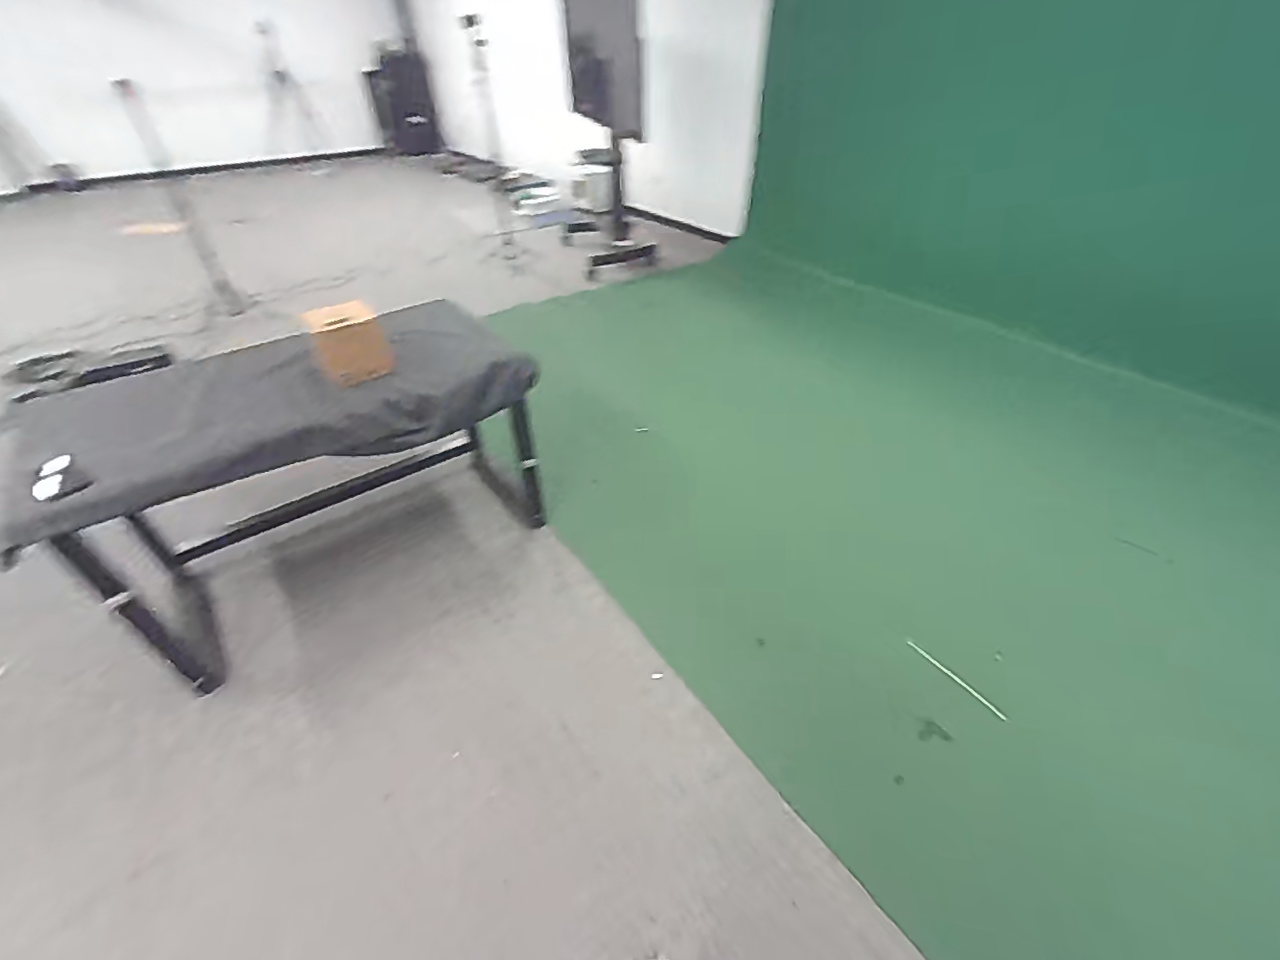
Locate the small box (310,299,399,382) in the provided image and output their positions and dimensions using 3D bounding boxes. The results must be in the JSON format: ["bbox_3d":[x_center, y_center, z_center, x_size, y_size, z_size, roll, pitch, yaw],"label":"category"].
[{"bbox_3d":[-0.818,-0.399,1.559,0.168,0.176,0.179,-24,44,-27],"label":"small box"}]
